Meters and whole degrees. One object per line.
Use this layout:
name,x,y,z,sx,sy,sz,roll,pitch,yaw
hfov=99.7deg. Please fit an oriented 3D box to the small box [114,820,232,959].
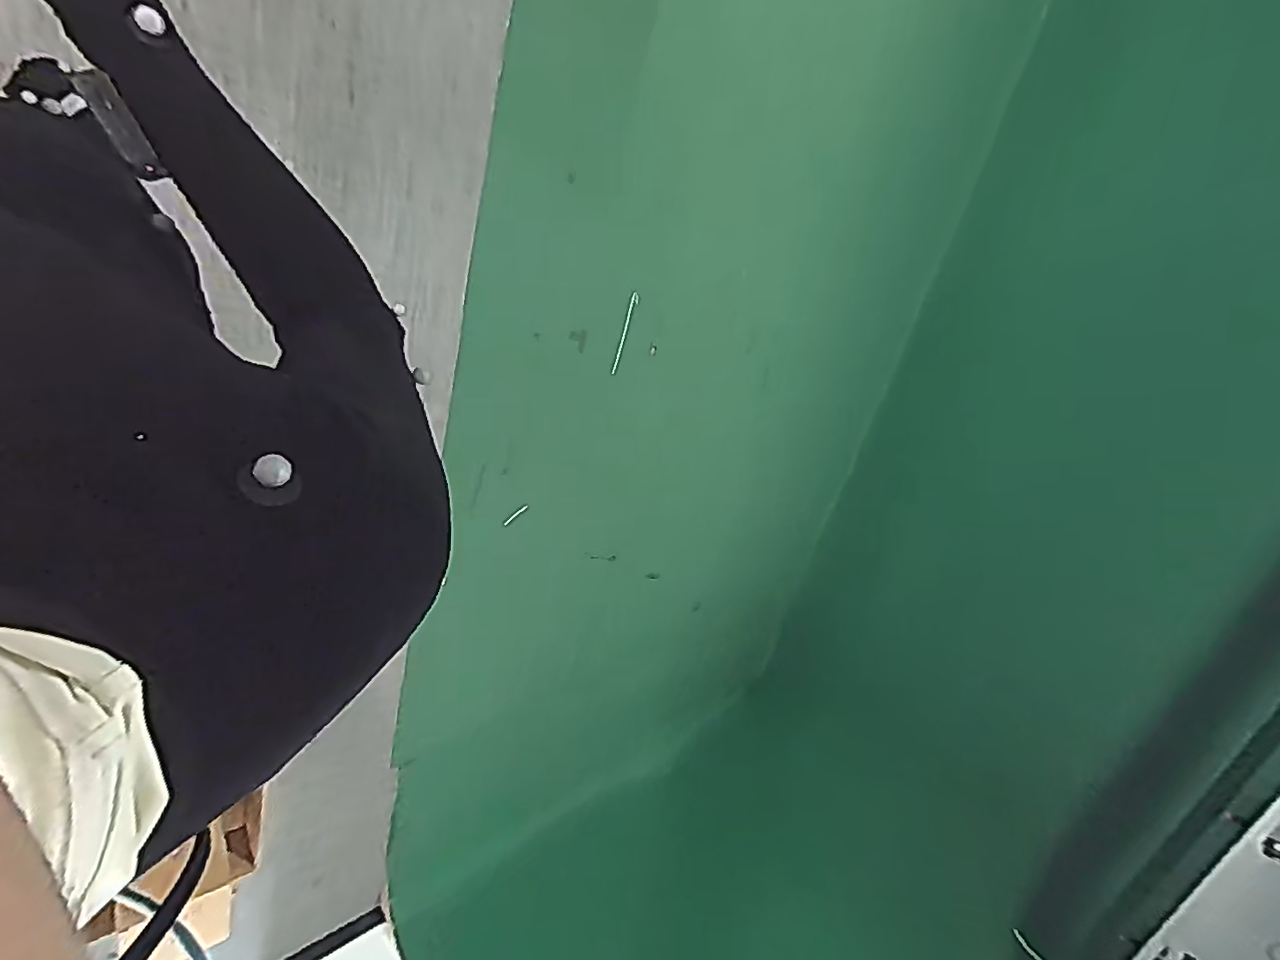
small box,-0.940,0.840,1.086,0.168,0.176,0.179,-2,116,-45
